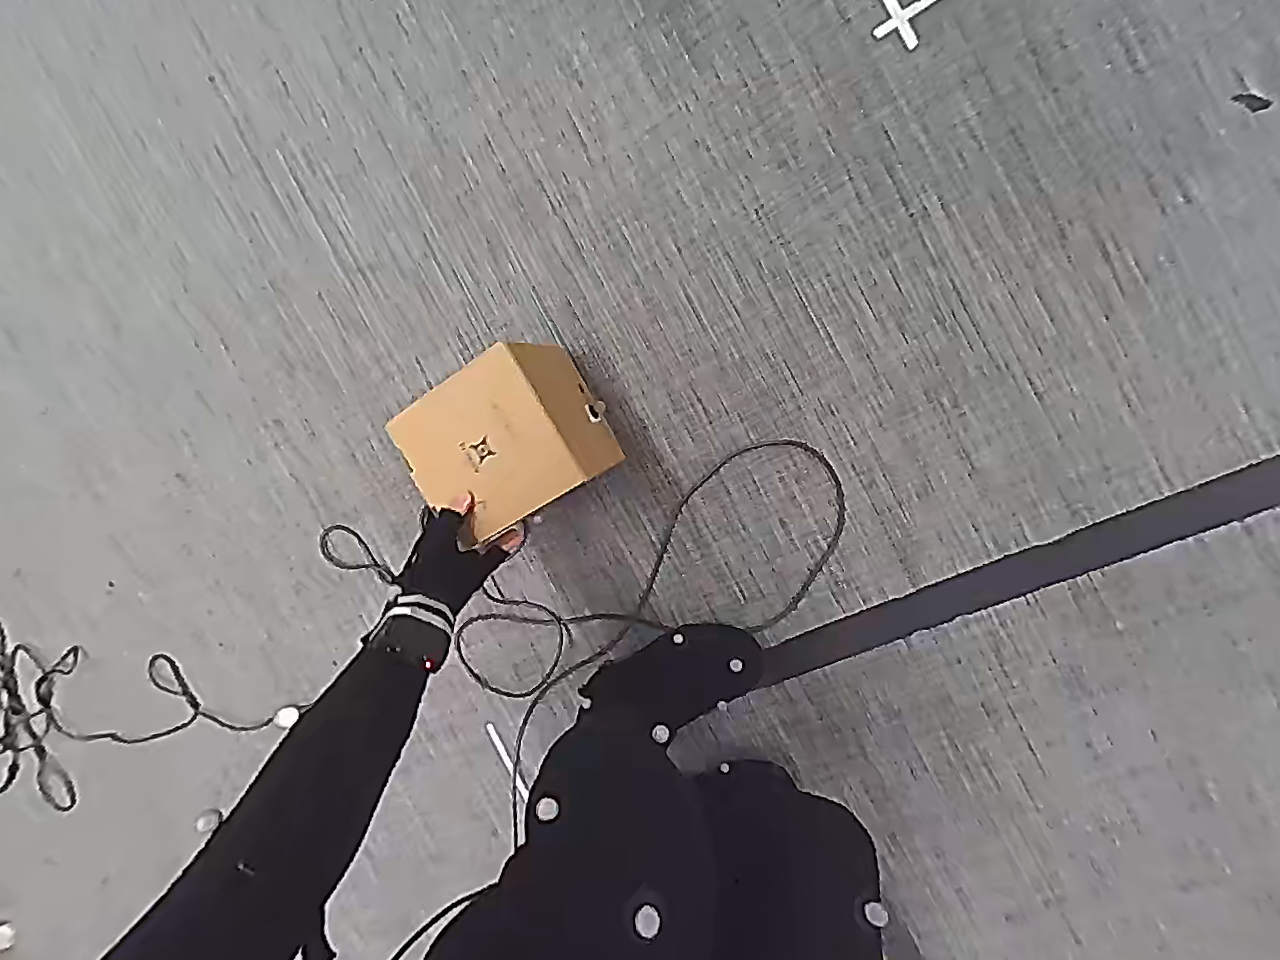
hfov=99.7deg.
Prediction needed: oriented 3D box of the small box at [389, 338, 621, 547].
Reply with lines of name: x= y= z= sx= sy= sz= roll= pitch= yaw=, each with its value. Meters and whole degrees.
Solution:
small box: x=-0.147 y=-0.047 z=0.646 sx=0.179 sy=0.176 sz=0.168 roll=-31 pitch=92 yaw=15

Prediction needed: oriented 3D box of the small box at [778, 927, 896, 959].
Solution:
small box: x=0.265 y=0.714 z=0.663 sx=0.179 sy=0.176 sz=0.168 roll=-37 pitch=89 yaw=16
